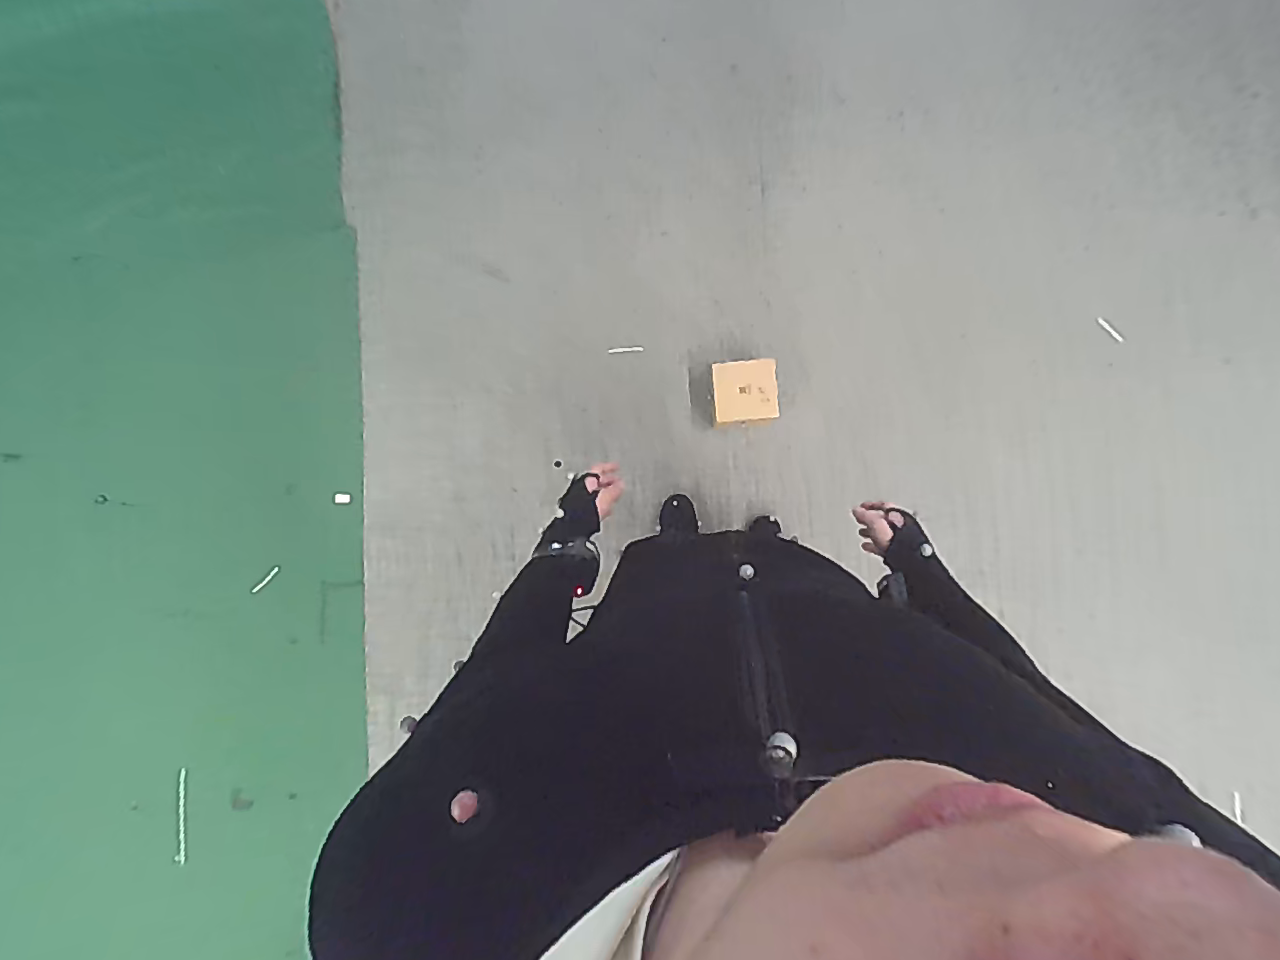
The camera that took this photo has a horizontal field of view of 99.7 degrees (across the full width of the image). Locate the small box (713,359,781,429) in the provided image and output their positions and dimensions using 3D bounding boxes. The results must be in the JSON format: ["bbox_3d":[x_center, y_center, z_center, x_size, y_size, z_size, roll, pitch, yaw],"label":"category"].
[{"bbox_3d":[0.301,-0.242,1.558,0.179,0.176,0.168,-3,88,5],"label":"small box"}]
